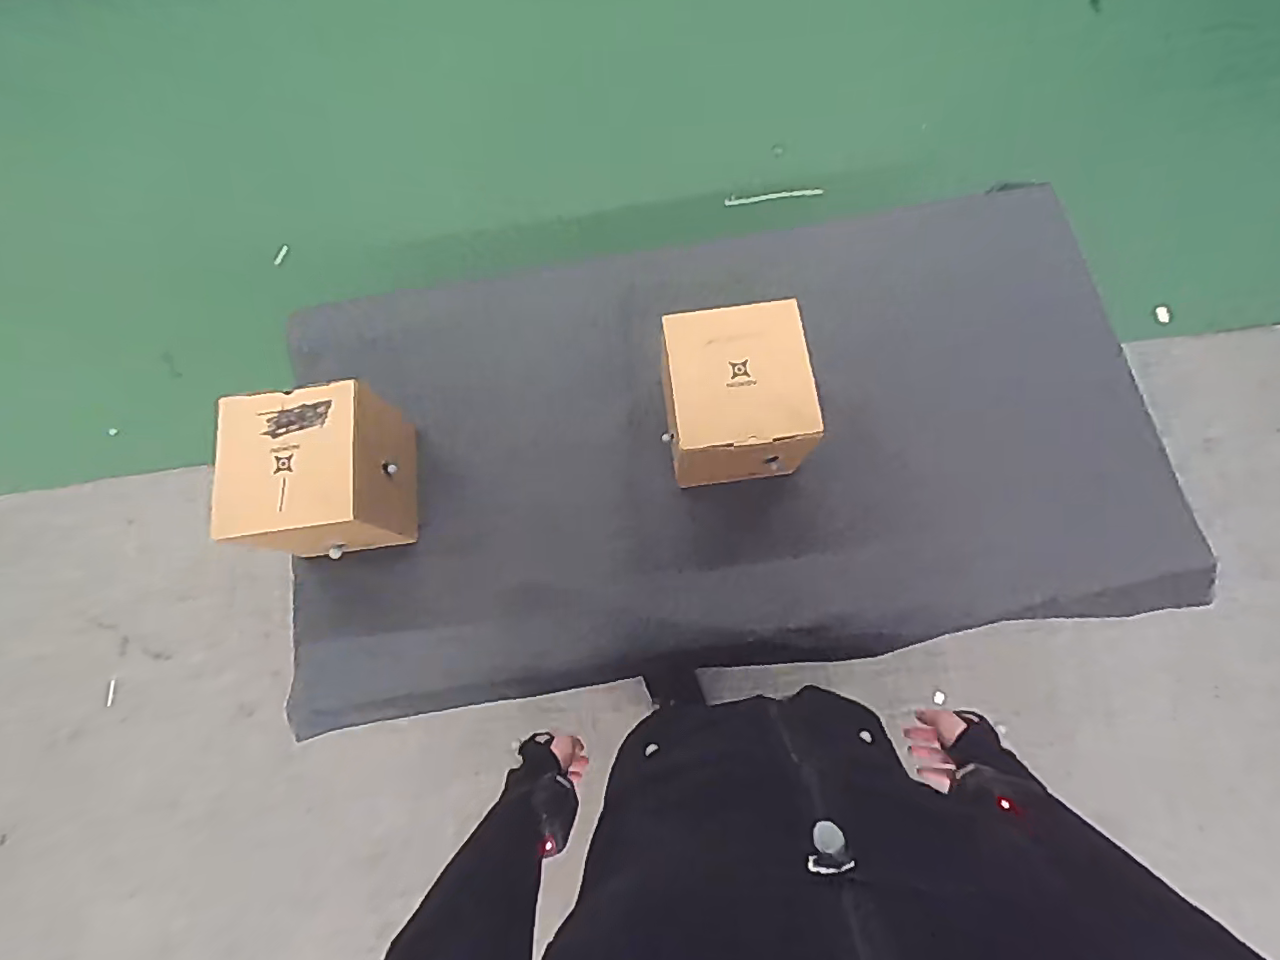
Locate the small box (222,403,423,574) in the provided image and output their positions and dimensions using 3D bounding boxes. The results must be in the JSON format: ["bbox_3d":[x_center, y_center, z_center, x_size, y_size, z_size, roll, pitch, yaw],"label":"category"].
[{"bbox_3d":[-0.399,0.020,0.710,0.168,0.176,0.179,-8,75,0],"label":"small box"}]

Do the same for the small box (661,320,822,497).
[{"bbox_3d":[0.122,-0.082,0.716,0.168,0.176,0.179,-8,73,-1],"label":"small box"}]
